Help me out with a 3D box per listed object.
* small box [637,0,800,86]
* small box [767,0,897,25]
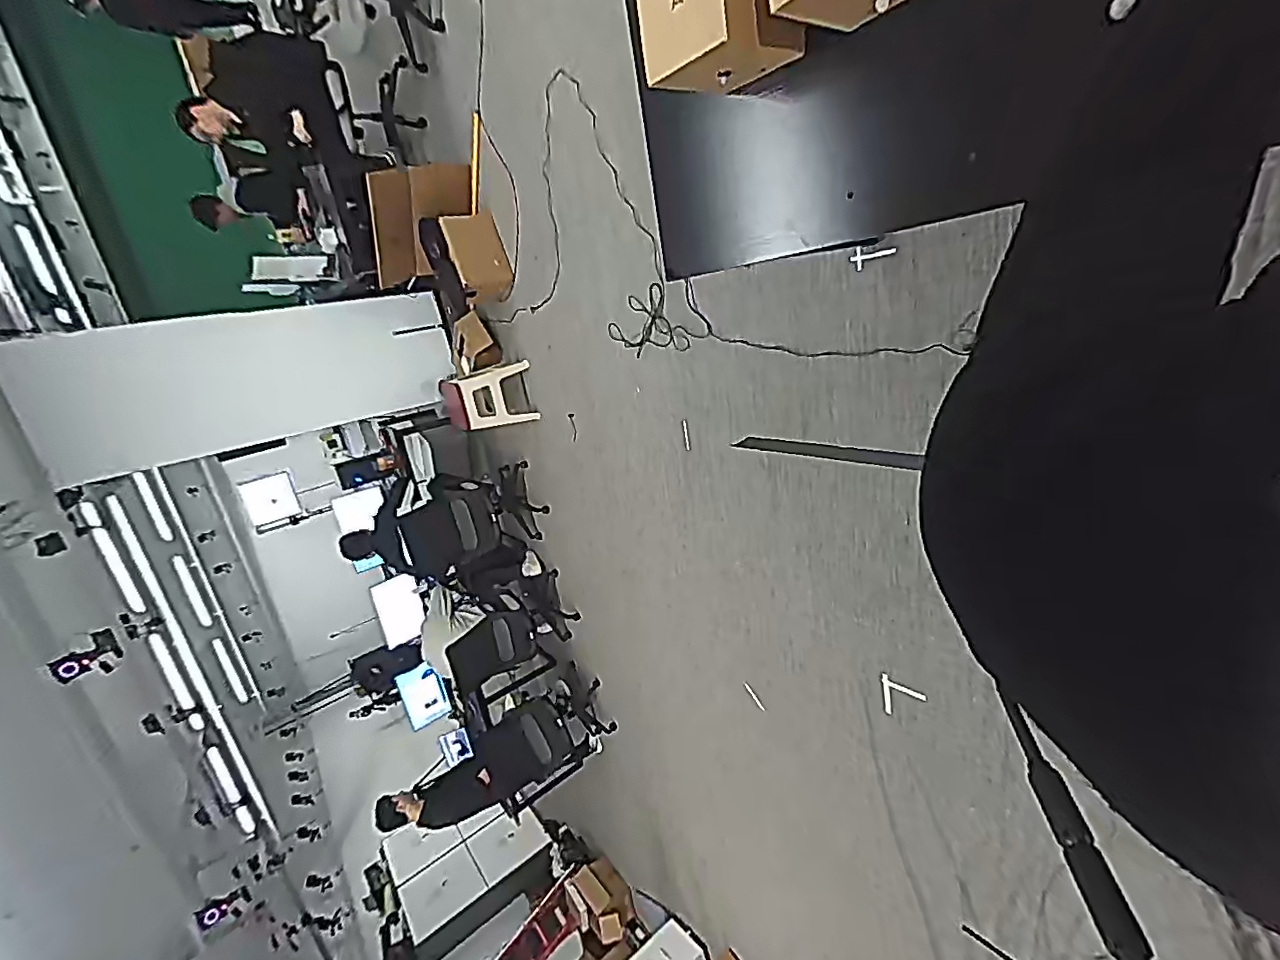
[{"bbox_3d":[0.112,-0.686,0.767,0.168,0.176,0.179,17,122,50],"label":"small box"},{"bbox_3d":[0.247,-0.648,0.592,0.168,0.176,0.179,11,119,52],"label":"small box"}]
